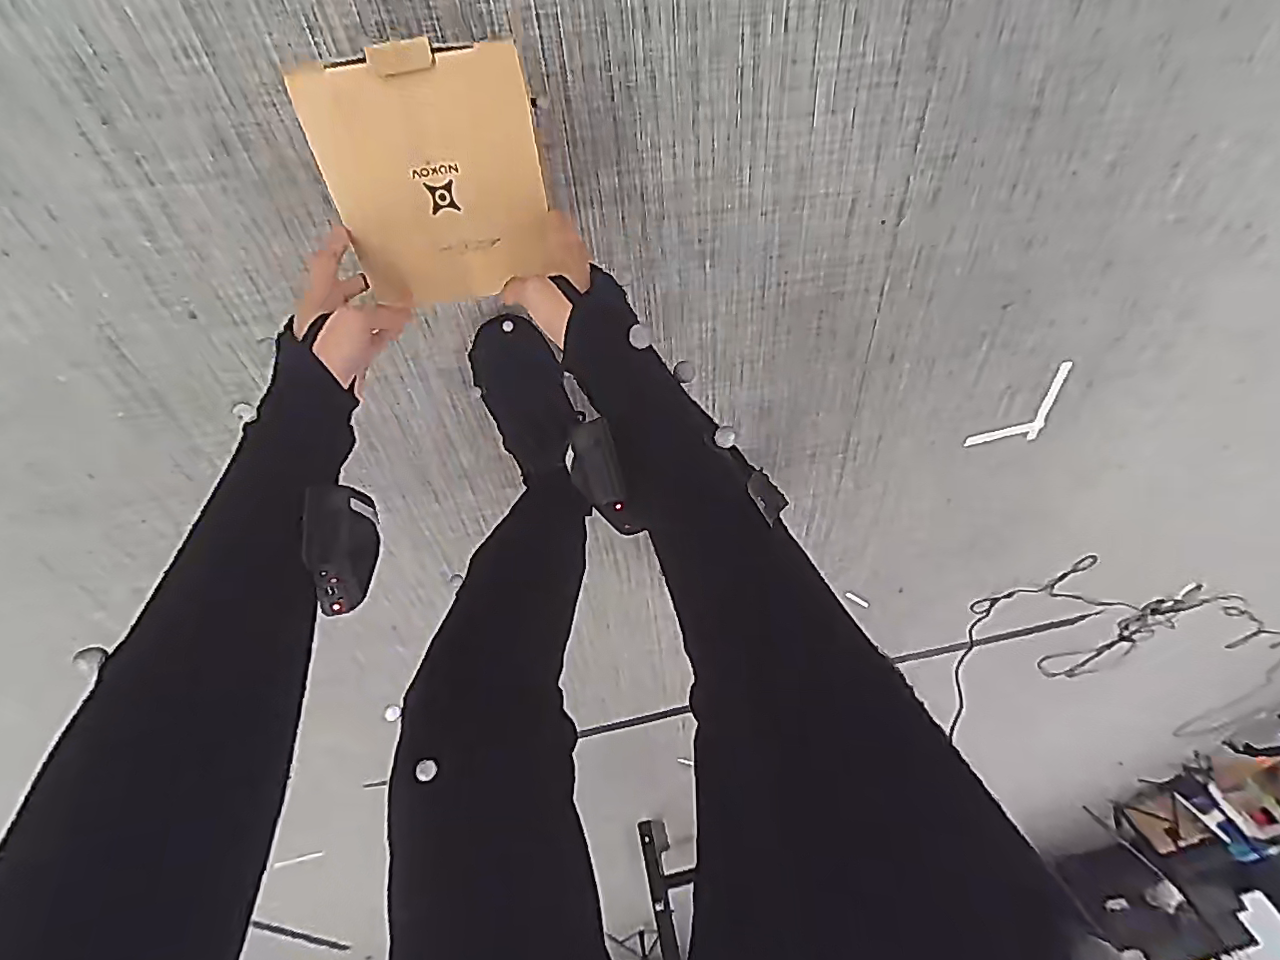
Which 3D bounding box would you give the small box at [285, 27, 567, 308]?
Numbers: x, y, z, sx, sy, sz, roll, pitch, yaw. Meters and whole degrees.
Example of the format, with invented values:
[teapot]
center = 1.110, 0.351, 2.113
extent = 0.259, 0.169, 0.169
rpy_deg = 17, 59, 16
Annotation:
[small box]
center = -0.165, -0.276, 0.478
extent = 0.168, 0.176, 0.179
rpy_deg = -10, 130, -4
